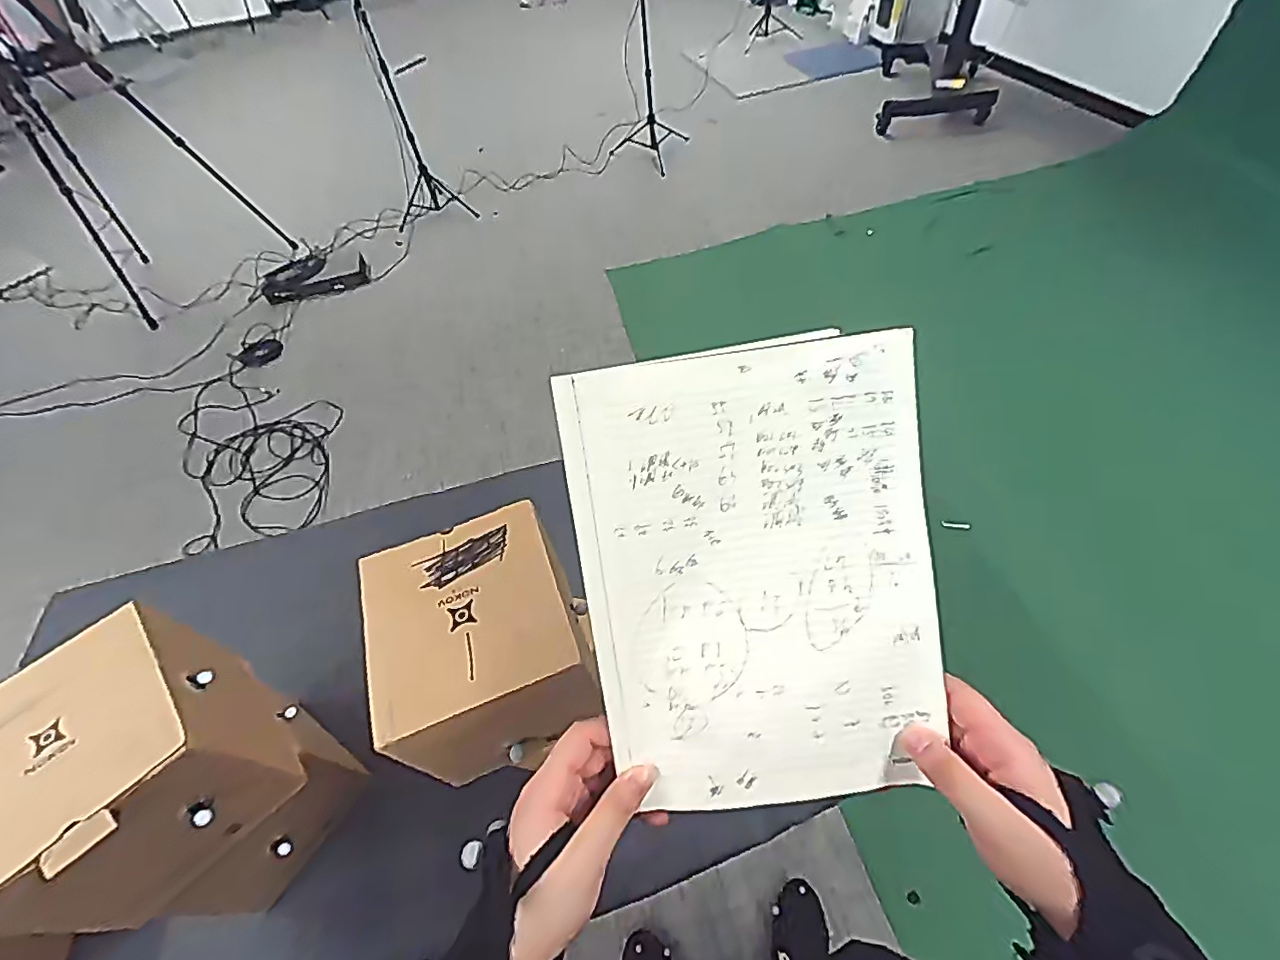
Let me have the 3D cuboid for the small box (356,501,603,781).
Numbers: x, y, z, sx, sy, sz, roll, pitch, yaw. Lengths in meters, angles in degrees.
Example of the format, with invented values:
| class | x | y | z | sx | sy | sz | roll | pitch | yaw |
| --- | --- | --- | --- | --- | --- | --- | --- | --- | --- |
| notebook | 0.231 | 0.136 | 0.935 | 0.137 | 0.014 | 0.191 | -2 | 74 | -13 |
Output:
| class | x | y | z | sx | sy | sz | roll | pitch | yaw |
| --- | --- | --- | --- | --- | --- | --- | --- | --- | --- |
| small box | -0.147 | 0.156 | 0.517 | 0.168 | 0.176 | 0.179 | -21 | 54 | -8 |

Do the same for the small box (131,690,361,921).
| class | x | y | z | sx | sy | sz | roll | pitch | yaw |
| --- | --- | --- | --- | --- | --- | --- | --- | --- | --- |
| small box | -0.462 | 0.348 | 0.612 | 0.179 | 0.176 | 0.168 | 25 | 59 | 23 |

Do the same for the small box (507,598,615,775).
| class | x | y | z | sx | sy | sz | roll | pitch | yaw |
| --- | --- | --- | --- | --- | --- | --- | --- | --- | --- |
| small box | -0.138 | 0.244 | 0.656 | 0.179 | 0.176 | 0.168 | 7 | 54 | 12 |

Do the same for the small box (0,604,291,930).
| class | x | y | z | sx | sy | sz | roll | pitch | yaw |
| --- | --- | --- | --- | --- | --- | --- | --- | --- | --- |
| small box | -0.458 | 0.251 | 0.480 | 0.168 | 0.176 | 0.179 | -40 | 58 | -23 |
